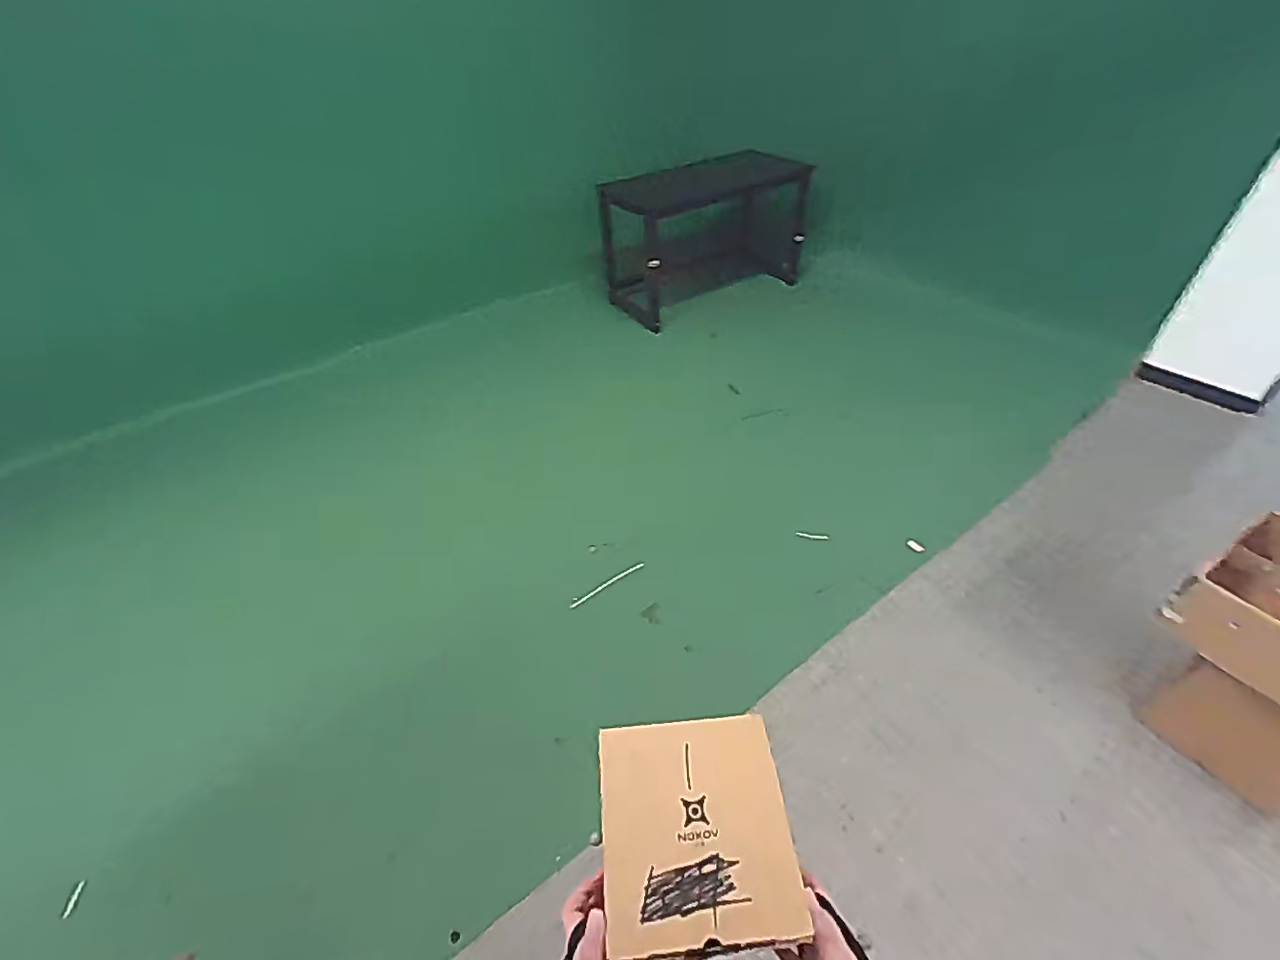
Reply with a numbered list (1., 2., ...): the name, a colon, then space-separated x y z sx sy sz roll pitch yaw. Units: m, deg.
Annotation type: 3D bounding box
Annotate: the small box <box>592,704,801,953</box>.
1. small box: 0.041 0.342 0.531 0.168 0.176 0.179 -3 48 -3
